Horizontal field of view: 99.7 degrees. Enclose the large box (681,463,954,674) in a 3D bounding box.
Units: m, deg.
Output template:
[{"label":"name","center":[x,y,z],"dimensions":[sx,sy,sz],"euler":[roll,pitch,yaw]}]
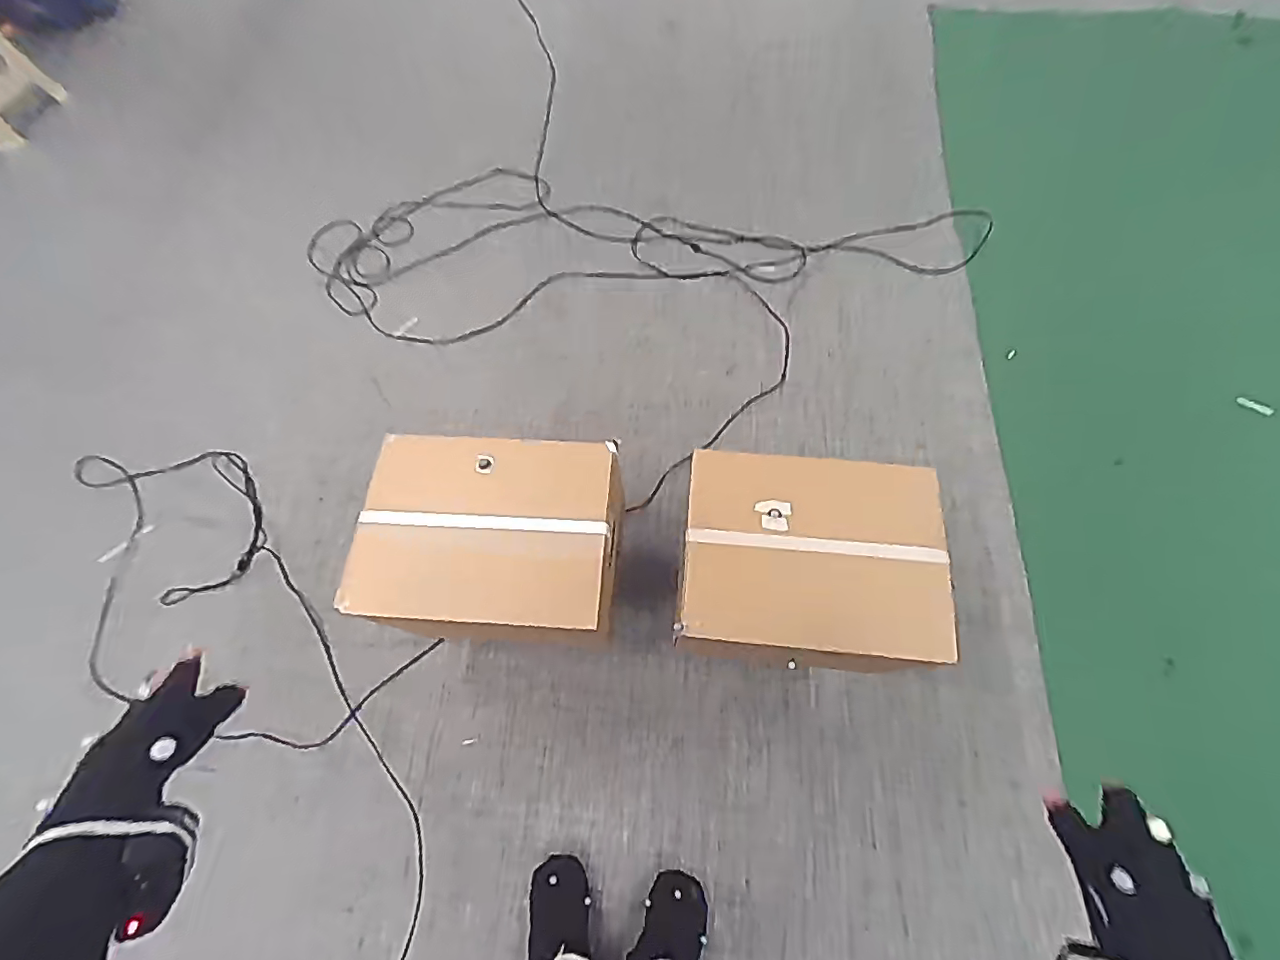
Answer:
[{"label":"large box","center":[0.289,0.179,1.002],"dimensions":[0.408,0.320,0.320],"euler":[5,67,5]}]
